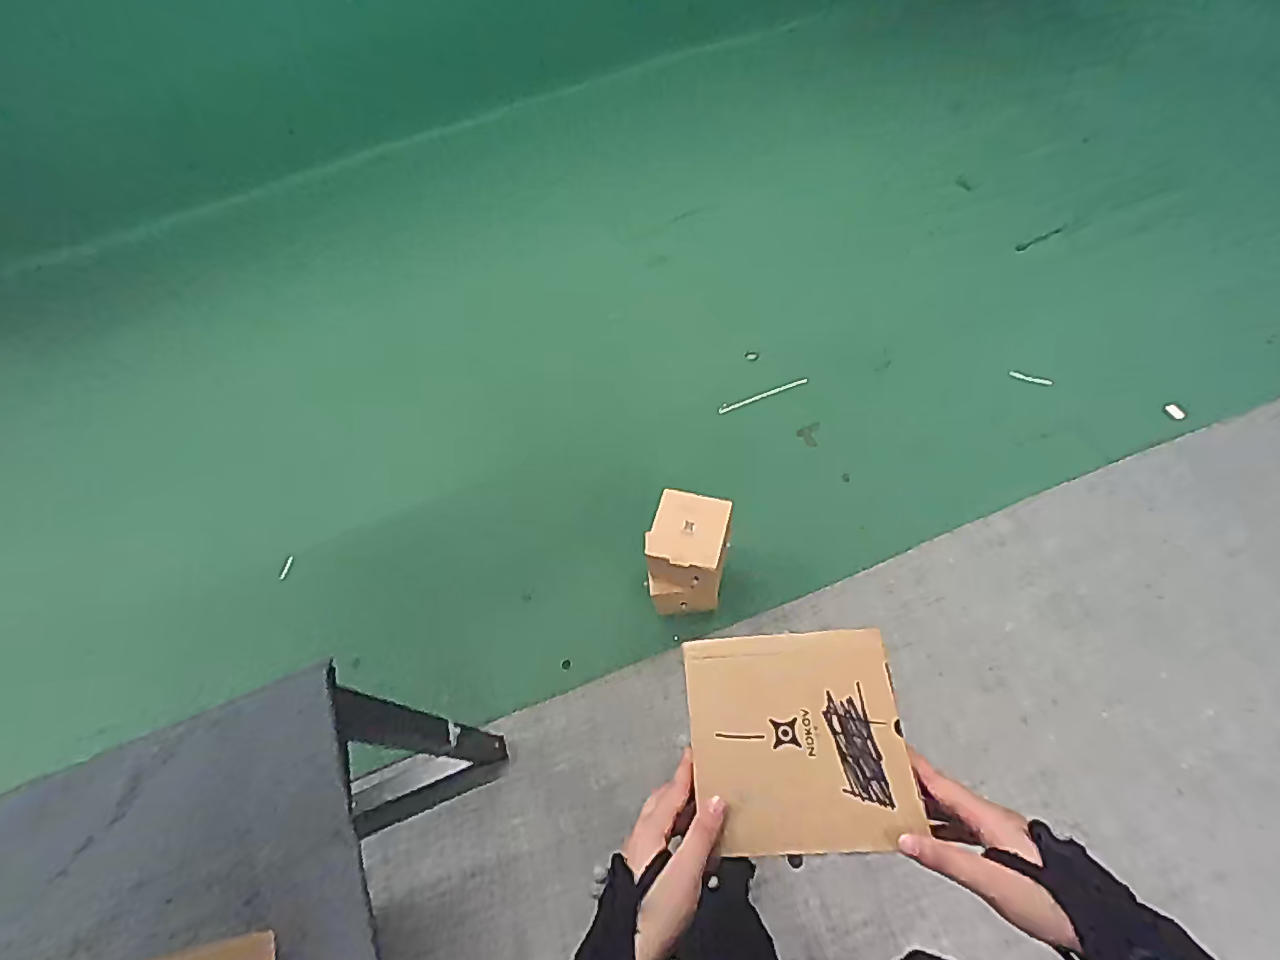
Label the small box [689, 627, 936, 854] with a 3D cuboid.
[{"bbox_3d":[0.139,0.243,0.510,0.179,0.176,0.168,-5,60,5],"label":"small box"}]

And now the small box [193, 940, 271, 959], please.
[{"bbox_3d":[-0.453,0.540,0.463,0.179,0.176,0.168,-22,59,-4],"label":"small box"}]

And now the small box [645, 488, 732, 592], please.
[{"bbox_3d":[0.120,0.148,1.283,0.168,0.176,0.179,12,61,13],"label":"small box"}]

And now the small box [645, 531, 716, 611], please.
[{"bbox_3d":[0.109,0.238,1.422,0.168,0.176,0.179,-7,58,3],"label":"small box"}]
